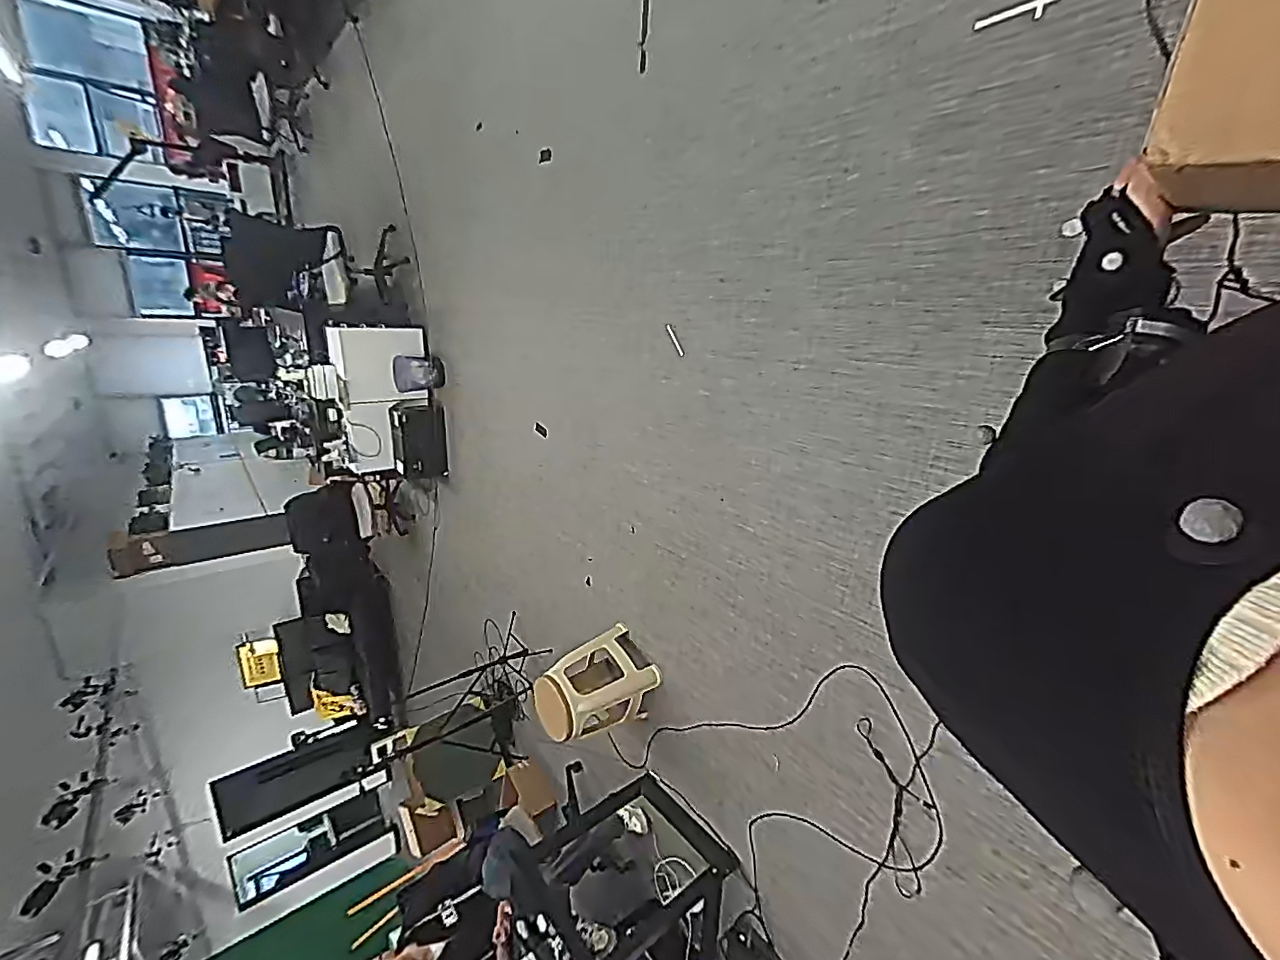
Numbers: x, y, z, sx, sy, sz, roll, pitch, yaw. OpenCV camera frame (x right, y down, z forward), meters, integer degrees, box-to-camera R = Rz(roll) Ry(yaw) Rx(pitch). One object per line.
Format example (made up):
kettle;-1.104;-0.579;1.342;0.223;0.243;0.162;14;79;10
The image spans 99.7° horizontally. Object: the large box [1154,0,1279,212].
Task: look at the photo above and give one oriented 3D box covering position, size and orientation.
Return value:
large box;0.482;-0.274;0.172;0.408;0.320;0.320;21;121;38
